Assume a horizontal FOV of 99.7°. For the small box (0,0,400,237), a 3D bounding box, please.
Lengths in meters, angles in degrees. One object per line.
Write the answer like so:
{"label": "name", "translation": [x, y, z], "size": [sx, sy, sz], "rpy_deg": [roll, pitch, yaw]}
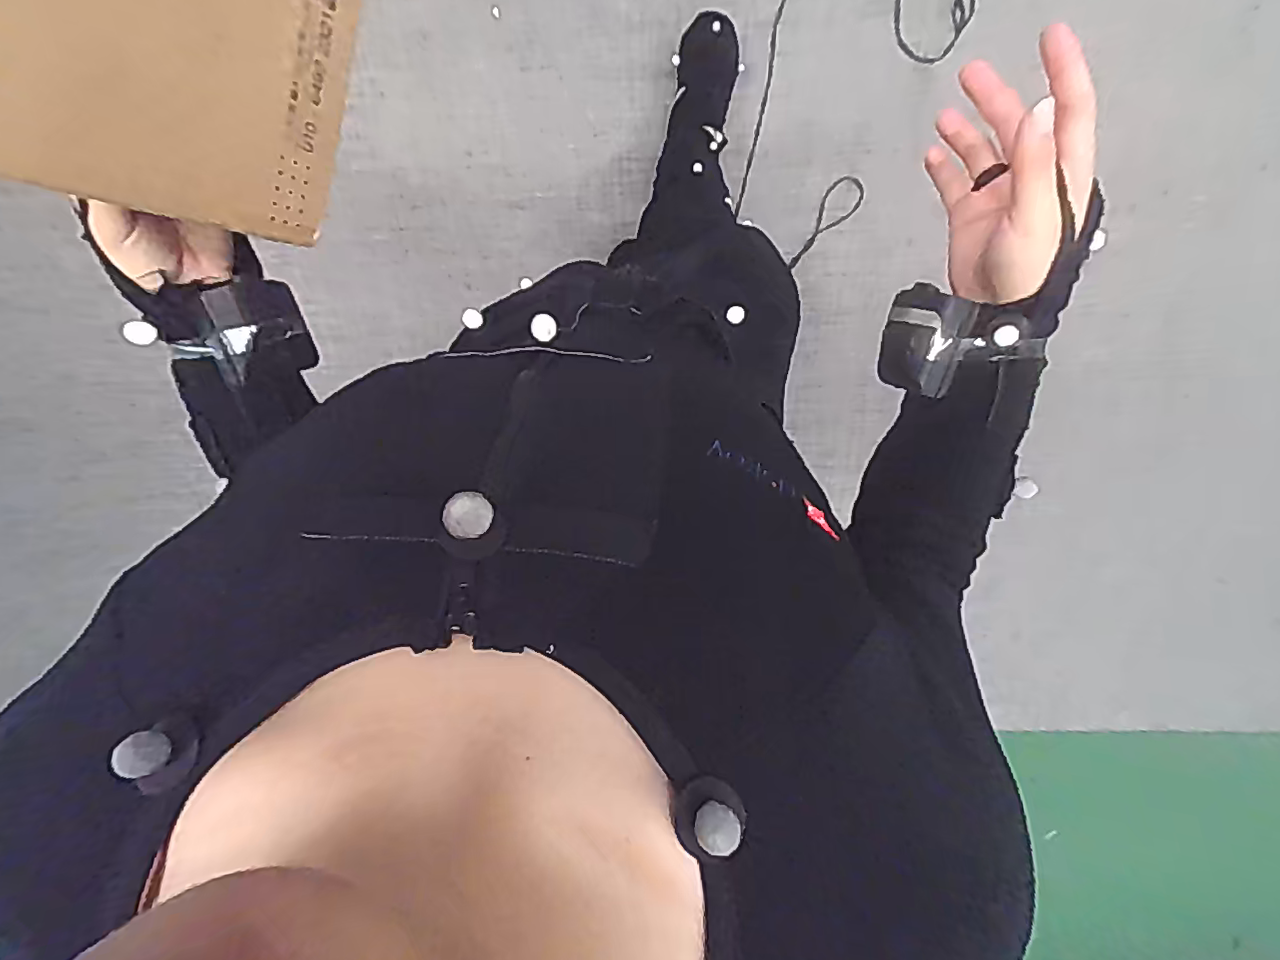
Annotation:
{"label": "small box", "translation": [-0.216, -0.204, 0.187], "size": [0.179, 0.176, 0.168], "rpy_deg": [24, 109, 10]}
